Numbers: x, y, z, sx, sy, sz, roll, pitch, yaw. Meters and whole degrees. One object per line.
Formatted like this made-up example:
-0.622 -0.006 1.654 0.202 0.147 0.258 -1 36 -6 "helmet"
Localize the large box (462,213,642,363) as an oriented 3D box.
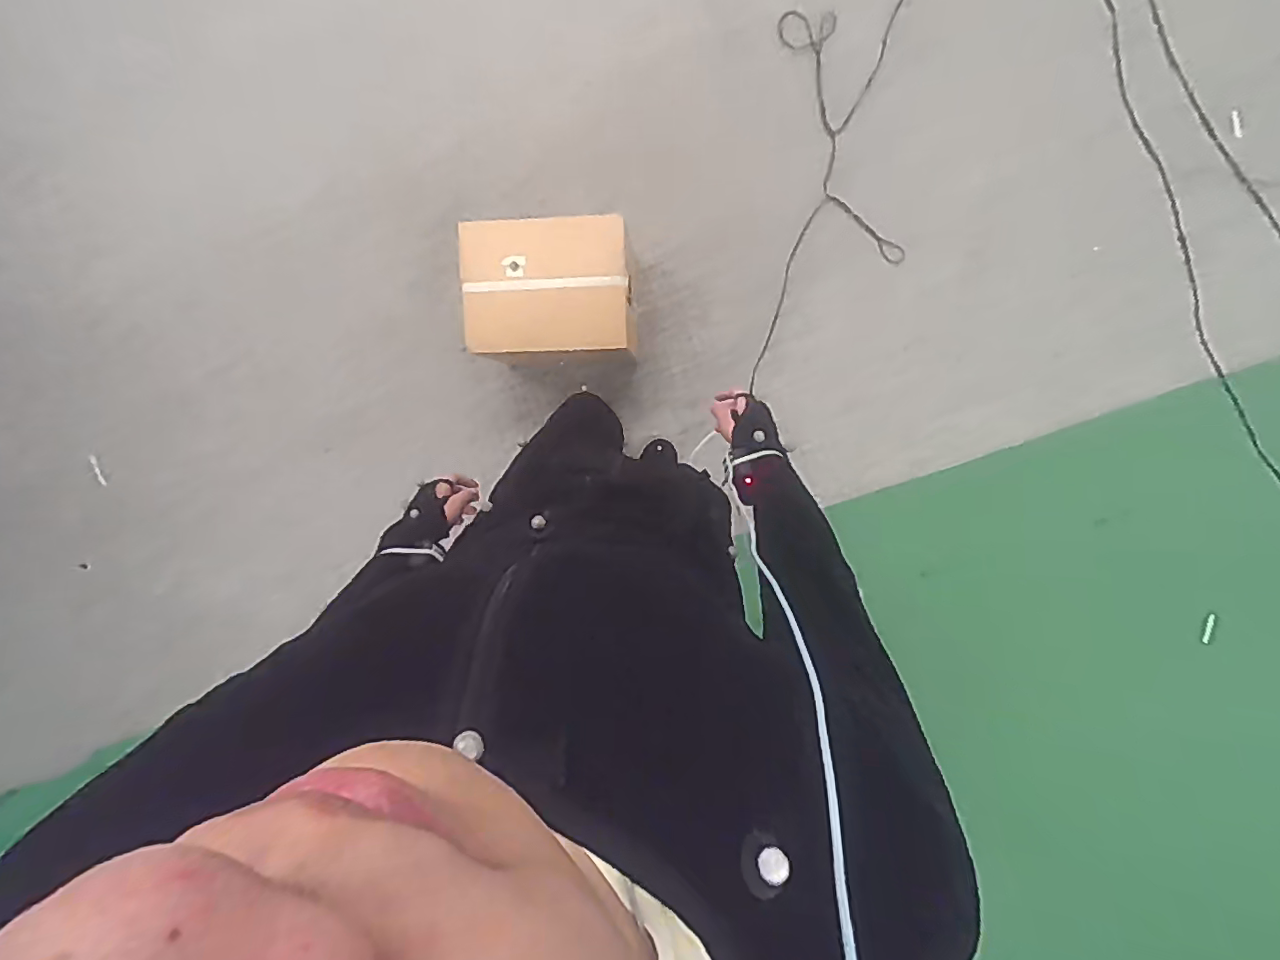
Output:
-0.212 -0.487 1.445 0.408 0.320 0.320 0 96 6 "large box"
